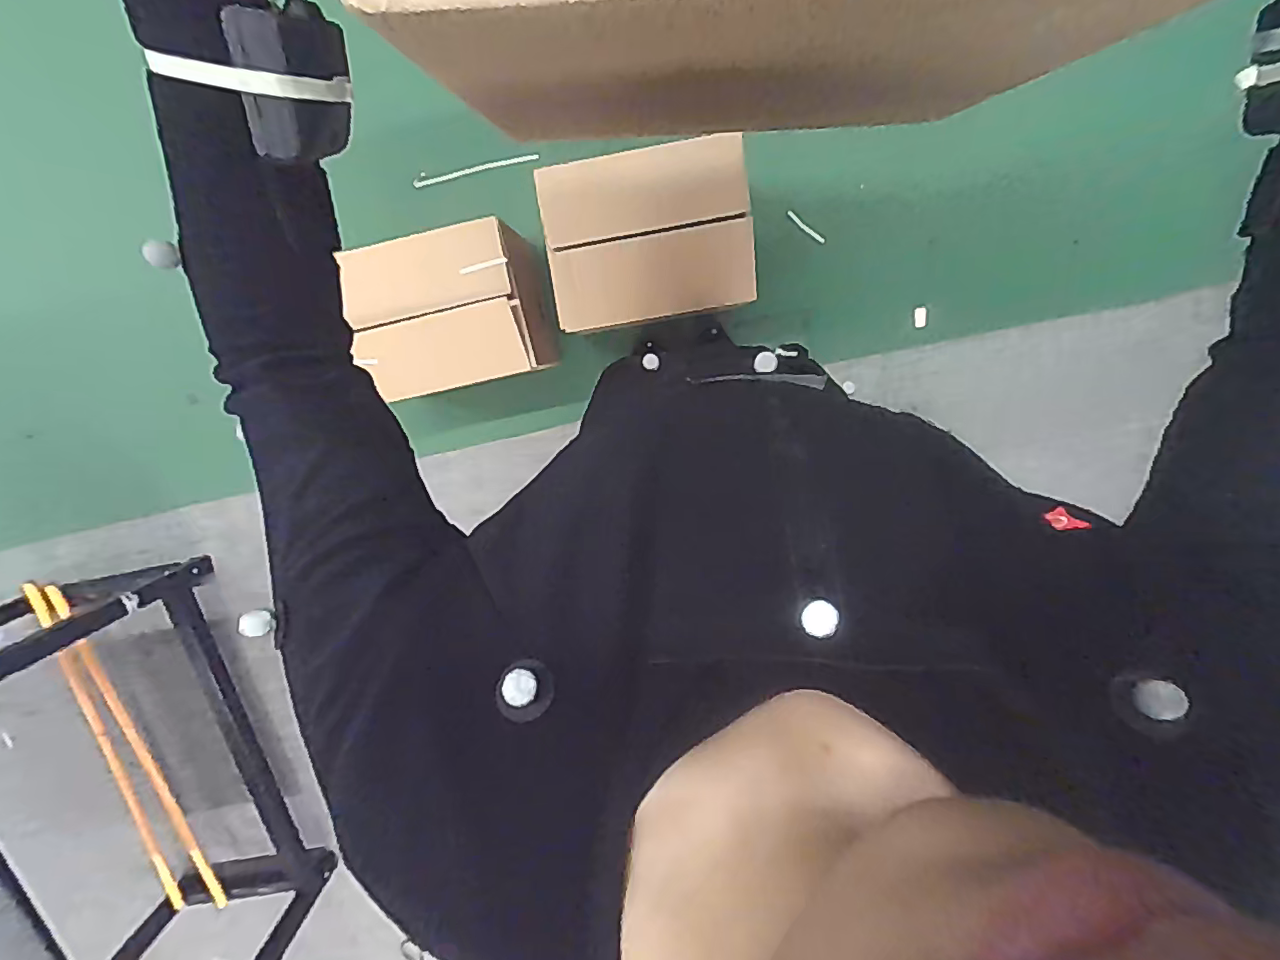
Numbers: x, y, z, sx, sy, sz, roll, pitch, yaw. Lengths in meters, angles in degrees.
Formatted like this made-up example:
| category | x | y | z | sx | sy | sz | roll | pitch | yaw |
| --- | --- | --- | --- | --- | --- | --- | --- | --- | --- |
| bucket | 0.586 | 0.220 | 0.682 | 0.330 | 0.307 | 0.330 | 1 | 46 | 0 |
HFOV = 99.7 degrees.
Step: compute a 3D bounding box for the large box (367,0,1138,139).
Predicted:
| category | x | y | z | sx | sy | sz | roll | pitch | yaw |
| --- | --- | --- | --- | --- | --- | --- | --- | --- | --- |
| large box | 0.063 | -0.411 | 0.304 | 0.408 | 0.320 | 0.320 | -3 | 114 | 1 |
